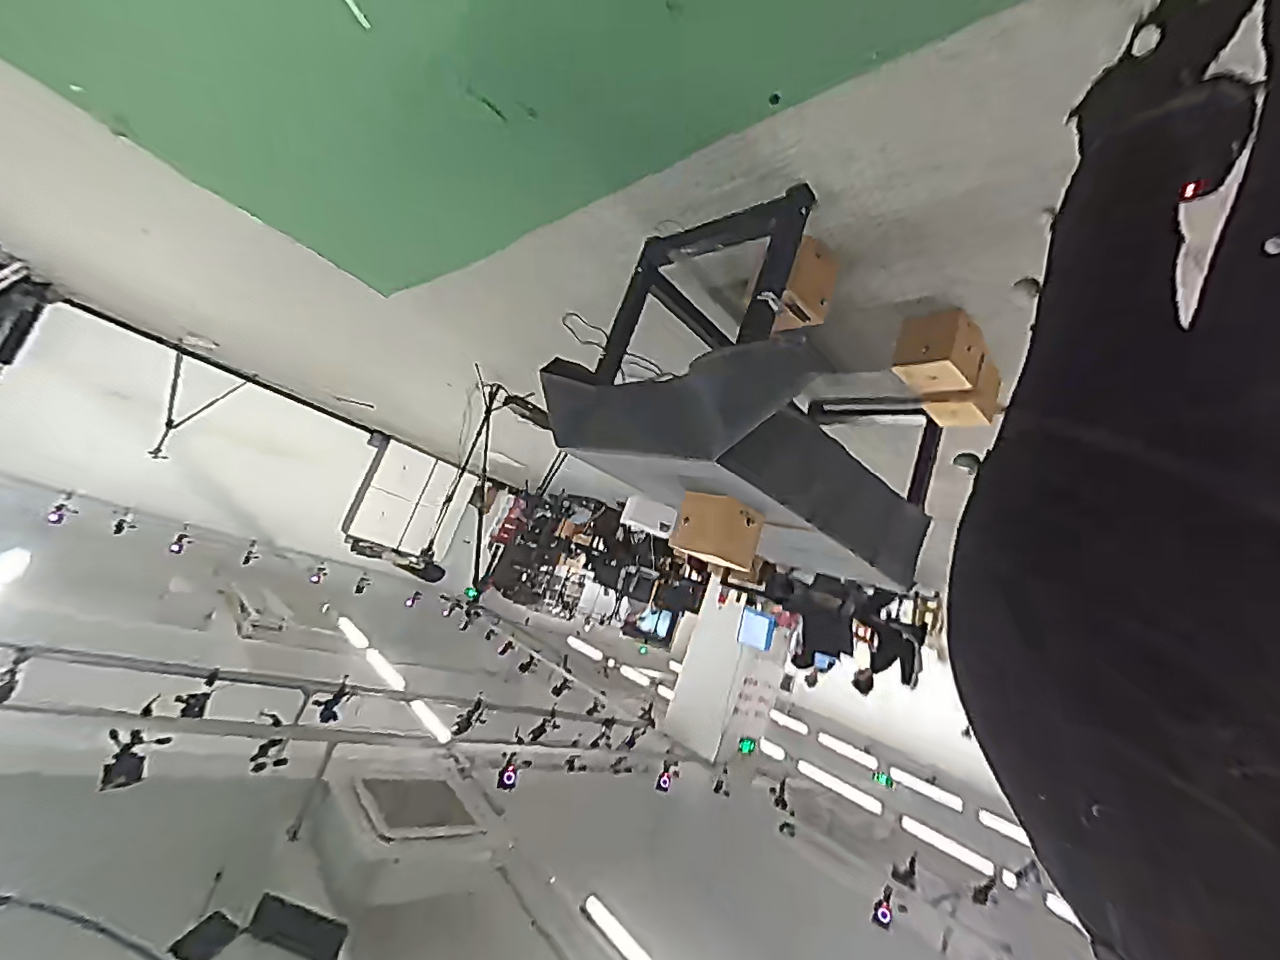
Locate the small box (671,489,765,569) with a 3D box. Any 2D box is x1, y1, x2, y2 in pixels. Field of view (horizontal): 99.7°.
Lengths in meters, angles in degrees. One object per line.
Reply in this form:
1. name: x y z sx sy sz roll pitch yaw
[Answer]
1. small box: 0.222 0.133 1.522 0.168 0.176 0.179 26 168 -38
